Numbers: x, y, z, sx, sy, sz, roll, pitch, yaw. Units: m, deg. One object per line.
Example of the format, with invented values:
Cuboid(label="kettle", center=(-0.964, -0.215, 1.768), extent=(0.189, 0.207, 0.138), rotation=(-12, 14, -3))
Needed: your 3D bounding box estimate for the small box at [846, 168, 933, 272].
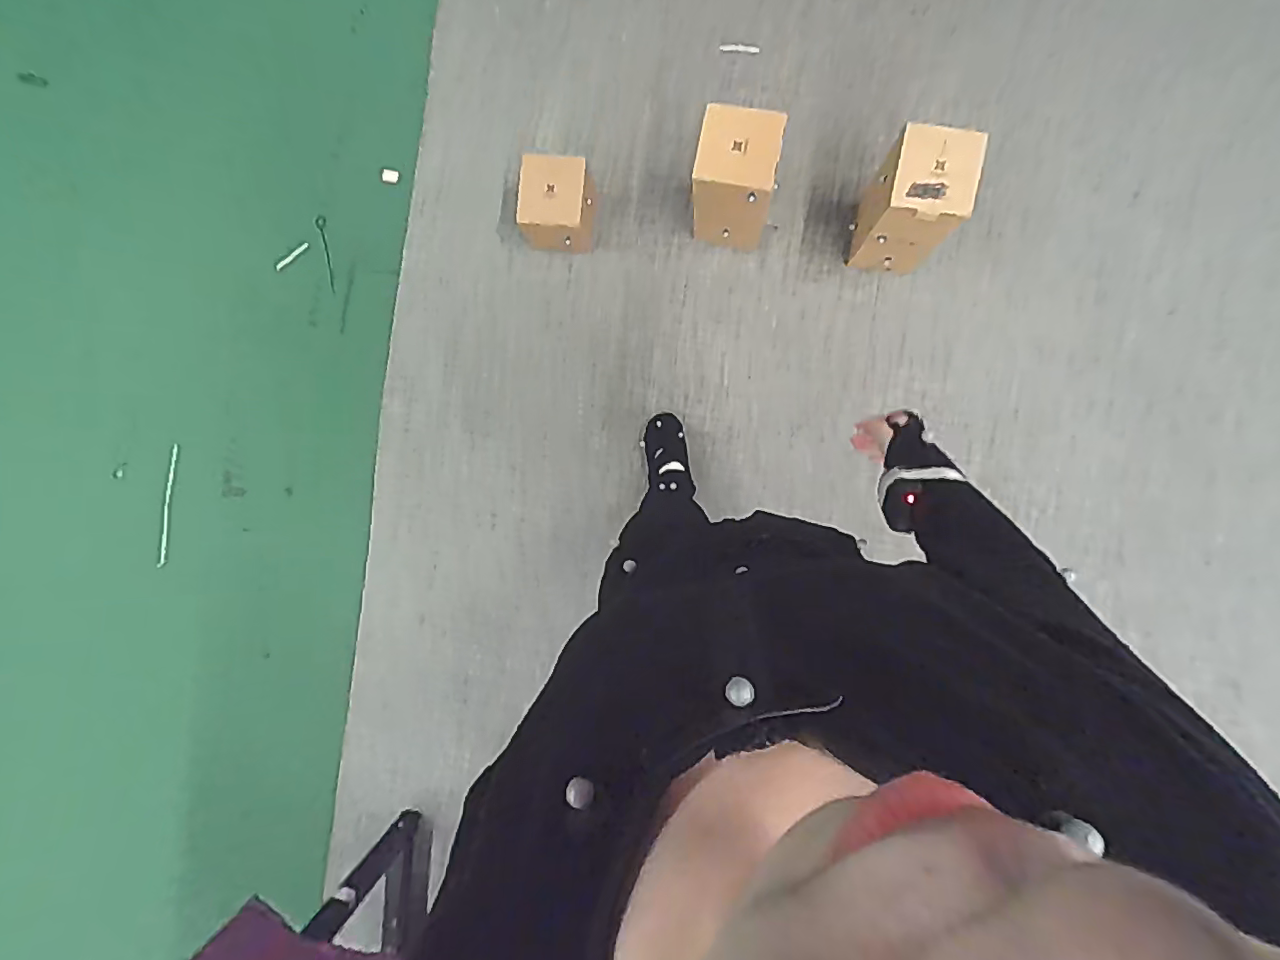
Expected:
Cuboid(label="small box", center=(0.630, -0.639, 1.350), extent=(0.168, 0.176, 0.179), rotation=(10, 92, 5))

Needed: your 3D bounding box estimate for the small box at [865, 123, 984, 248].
Cuboid(label="small box", center=(0.611, -0.634, 1.186), extent=(0.168, 0.176, 0.179), rotation=(12, 91, 5))

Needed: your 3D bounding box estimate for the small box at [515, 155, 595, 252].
Cuboid(label="small box", center=(-0.219, -0.725, 1.436), extent=(0.168, 0.176, 0.179), rotation=(6, 90, 5))

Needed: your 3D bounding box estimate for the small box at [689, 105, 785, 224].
Cuboid(label="small box", center=(0.214, -0.707, 1.227), extent=(0.179, 0.176, 0.168), rotation=(12, 91, 6))
